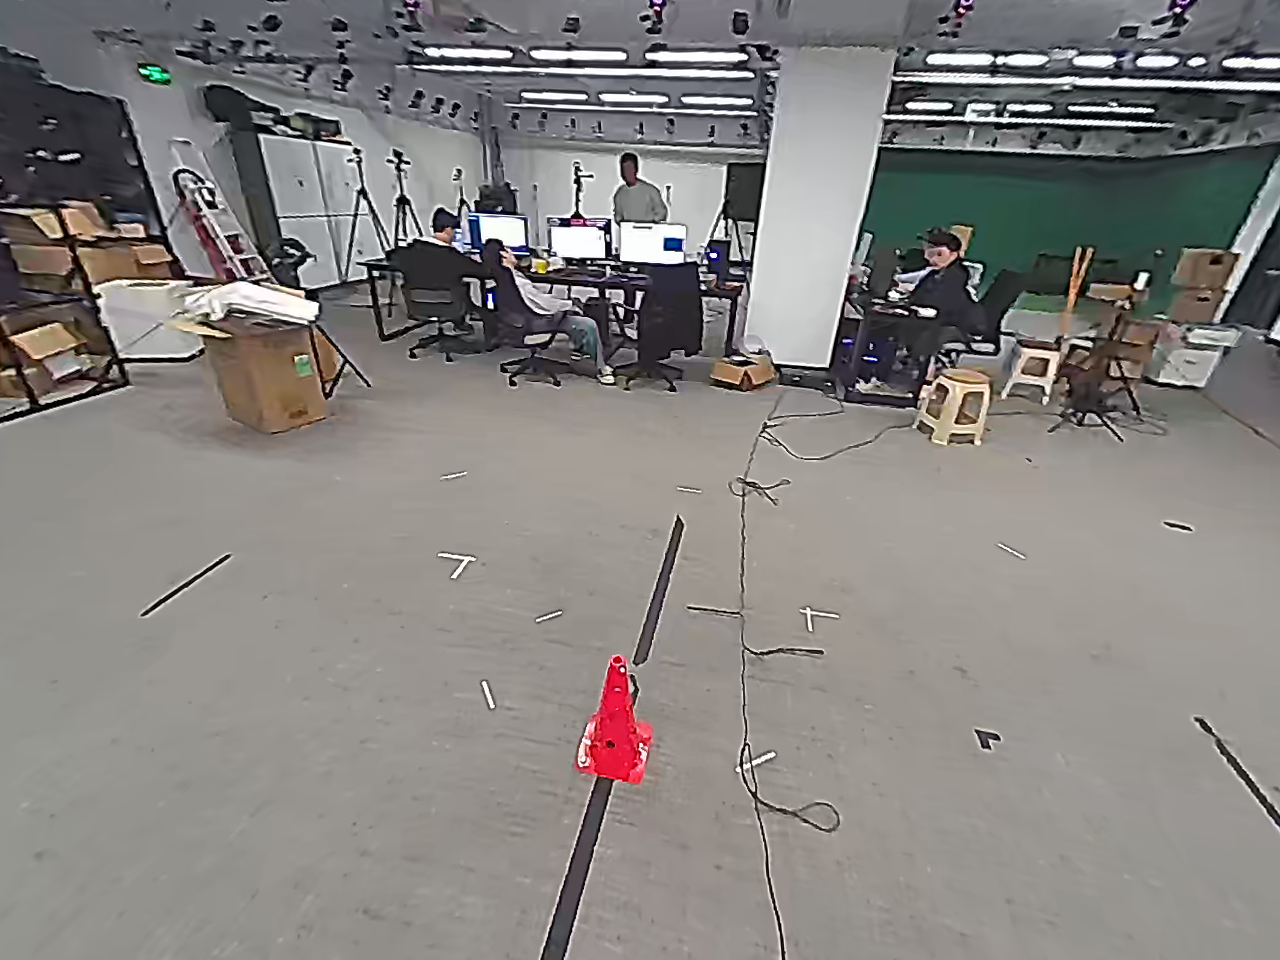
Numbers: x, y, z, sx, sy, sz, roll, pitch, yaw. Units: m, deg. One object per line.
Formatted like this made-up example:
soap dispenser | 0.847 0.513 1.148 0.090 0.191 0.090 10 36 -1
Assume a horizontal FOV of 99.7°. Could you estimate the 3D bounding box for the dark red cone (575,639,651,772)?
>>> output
dark red cone | -0.064 0.609 1.516 0.201 0.394 0.202 9 28 8
